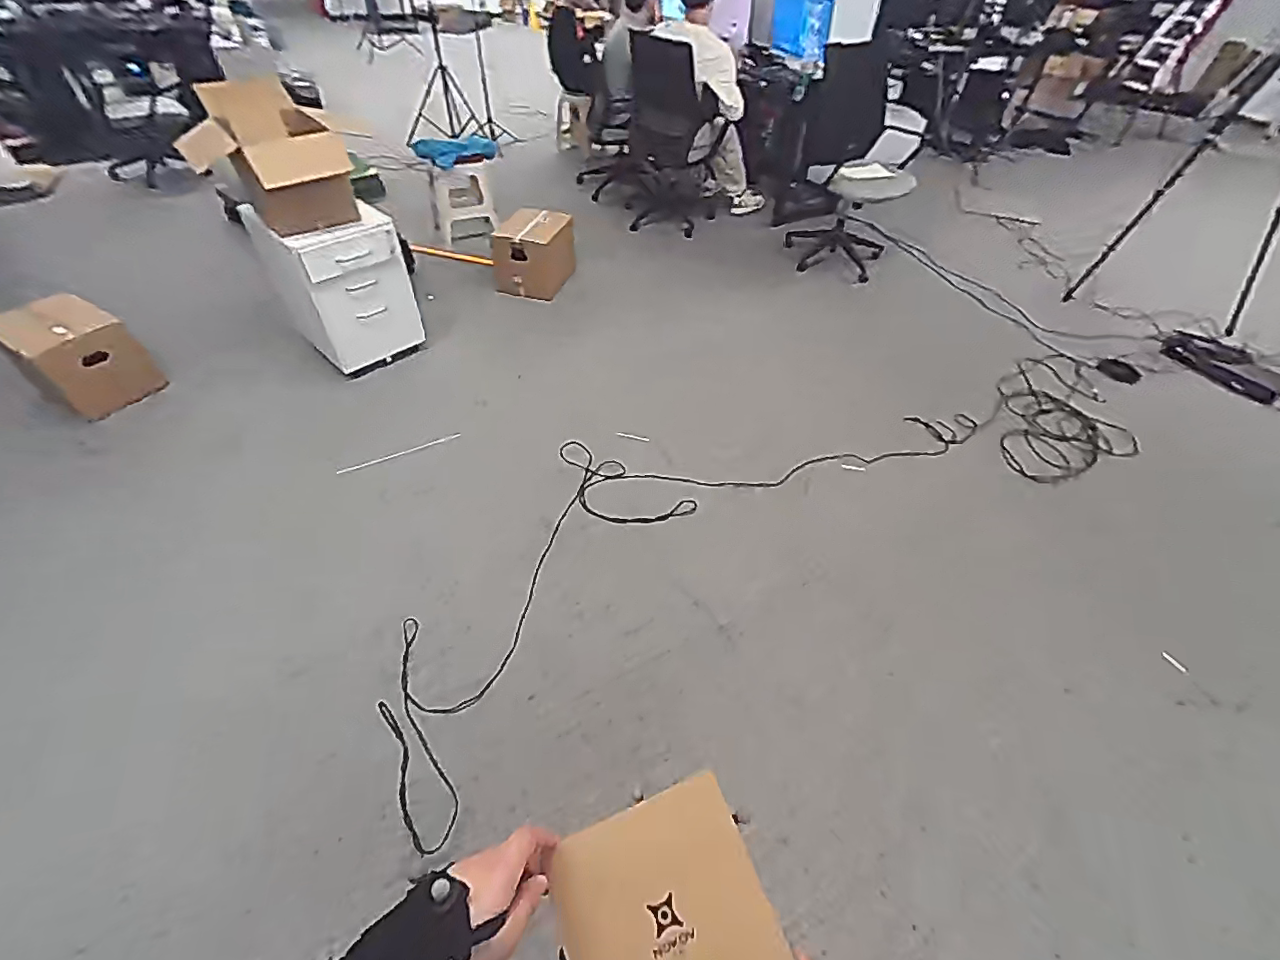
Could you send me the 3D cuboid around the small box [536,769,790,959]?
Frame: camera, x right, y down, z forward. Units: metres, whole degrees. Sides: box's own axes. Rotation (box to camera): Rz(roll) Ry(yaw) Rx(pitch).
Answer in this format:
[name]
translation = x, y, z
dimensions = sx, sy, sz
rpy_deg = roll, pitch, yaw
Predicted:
[small box]
translation = 0.025, 0.389, 0.490
dimensions = 0.168, 0.176, 0.179
rpy_deg = -23, 61, -6
